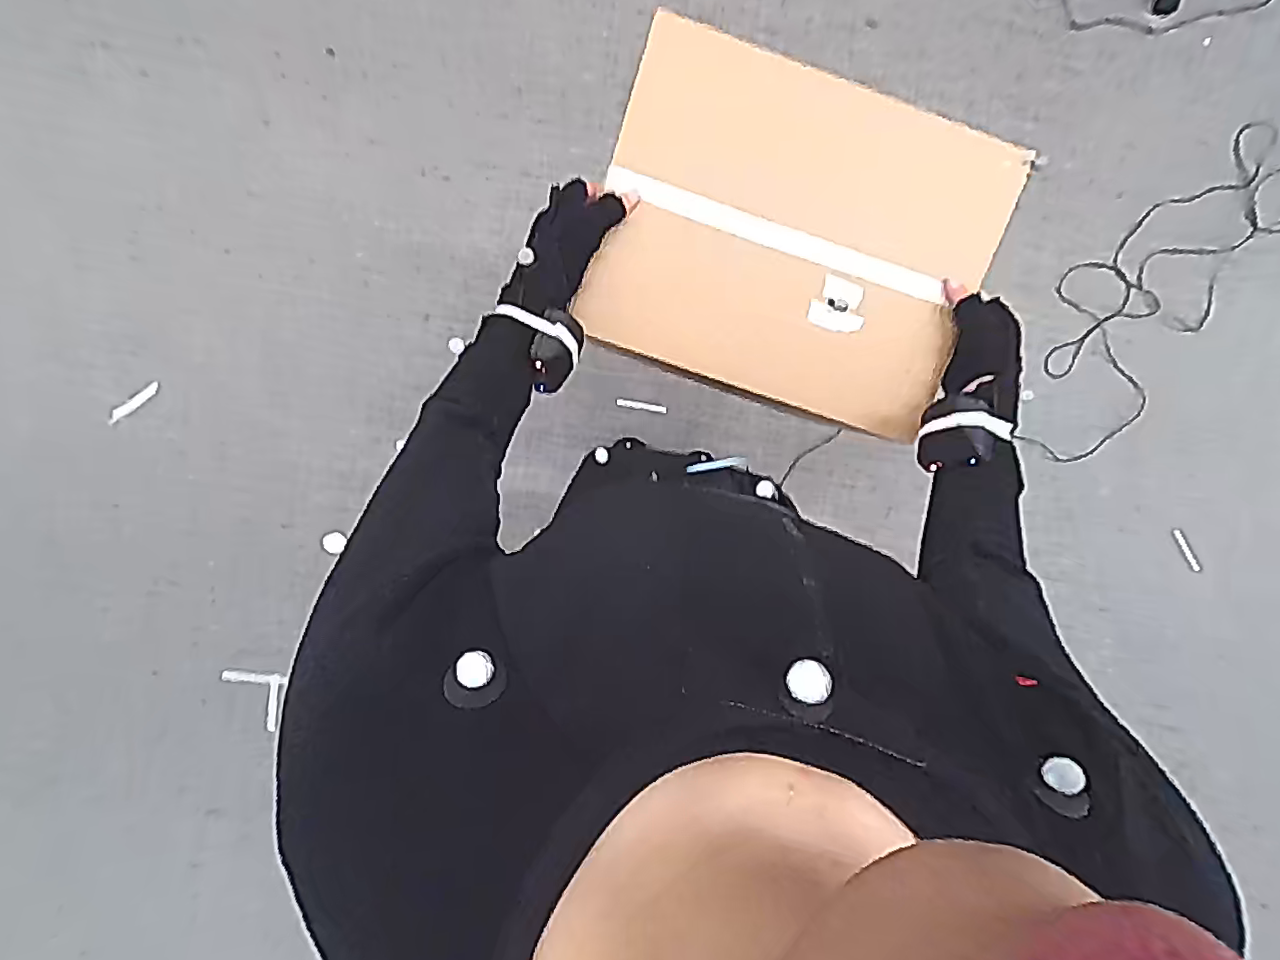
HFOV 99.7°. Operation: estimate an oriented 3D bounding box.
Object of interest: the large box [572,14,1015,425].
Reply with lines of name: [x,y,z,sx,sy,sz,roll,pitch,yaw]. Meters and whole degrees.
large box: [0.152,-0.288,0.715,0.408,0.320,0.320,18,101,-5]
